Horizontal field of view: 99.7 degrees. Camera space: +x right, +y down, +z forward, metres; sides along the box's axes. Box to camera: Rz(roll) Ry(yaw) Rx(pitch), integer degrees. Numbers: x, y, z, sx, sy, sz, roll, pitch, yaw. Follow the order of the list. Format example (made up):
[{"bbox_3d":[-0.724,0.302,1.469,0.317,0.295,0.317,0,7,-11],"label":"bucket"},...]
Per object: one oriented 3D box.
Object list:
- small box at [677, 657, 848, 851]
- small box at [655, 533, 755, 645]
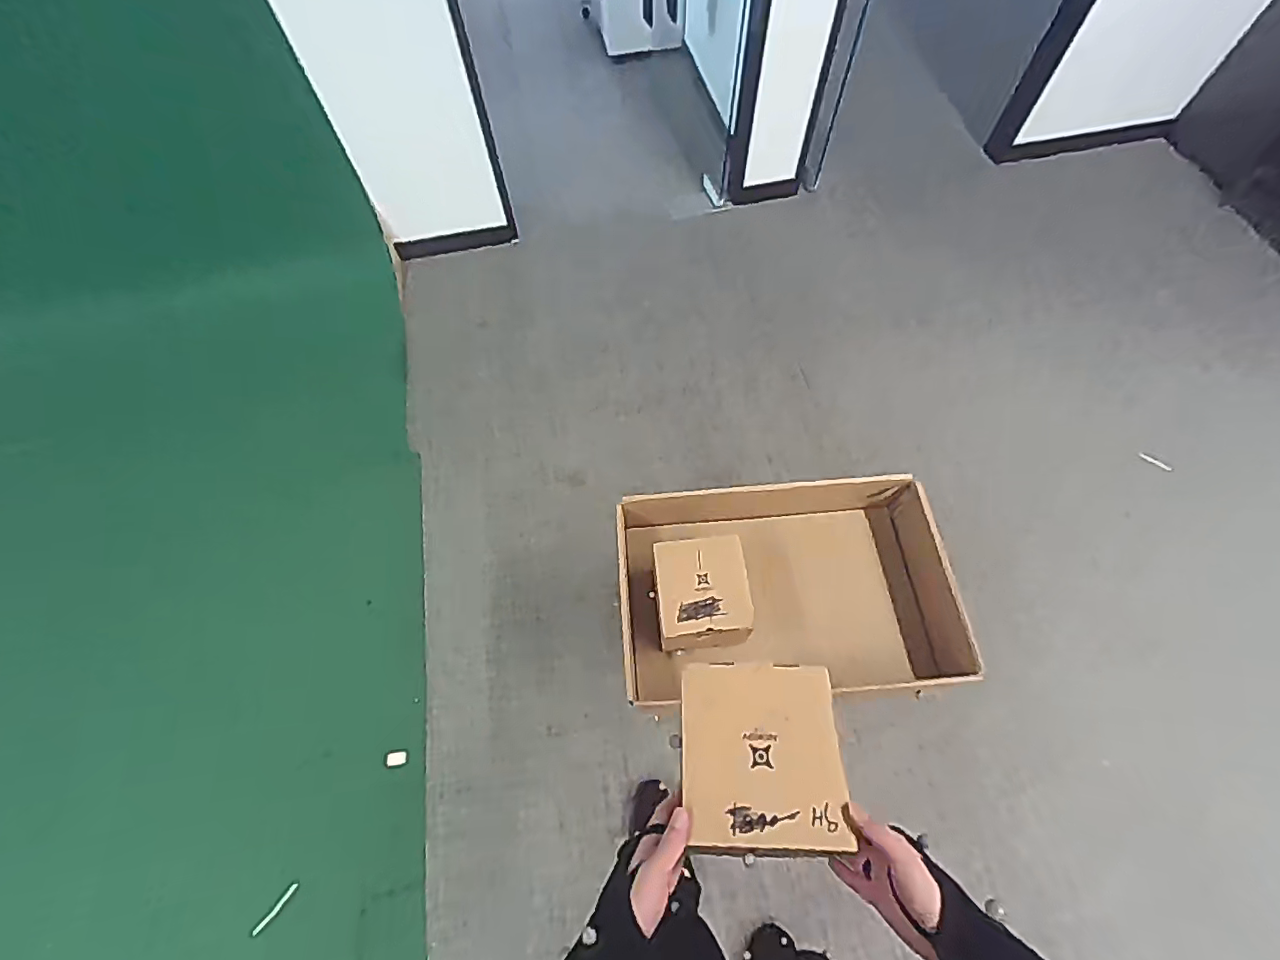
[{"bbox_3d":[0.127,0.323,0.634,0.168,0.176,0.179,-1,54,5],"label":"small box"},{"bbox_3d":[0.120,0.218,1.051,0.168,0.176,0.179,-6,63,0],"label":"small box"}]
